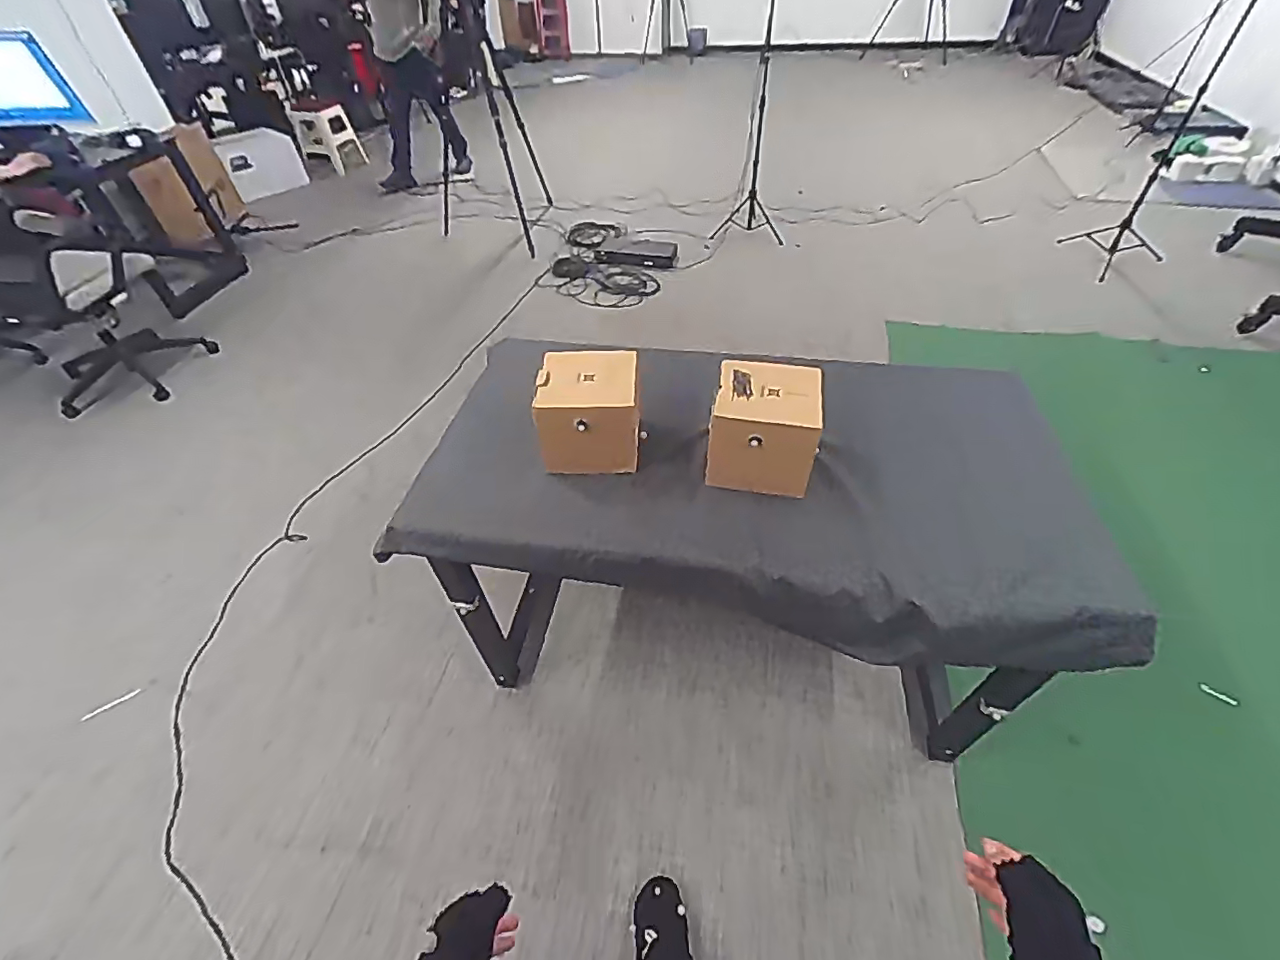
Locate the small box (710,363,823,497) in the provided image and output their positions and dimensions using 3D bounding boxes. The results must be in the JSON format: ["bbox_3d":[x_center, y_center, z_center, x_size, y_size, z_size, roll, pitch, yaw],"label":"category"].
[{"bbox_3d":[0.223,-0.088,0.973,0.179,0.176,0.168,8,48,10],"label":"small box"}]

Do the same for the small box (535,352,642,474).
[{"bbox_3d":[-0.087,-0.124,1.024,0.179,0.176,0.168,1,48,2],"label":"small box"}]
